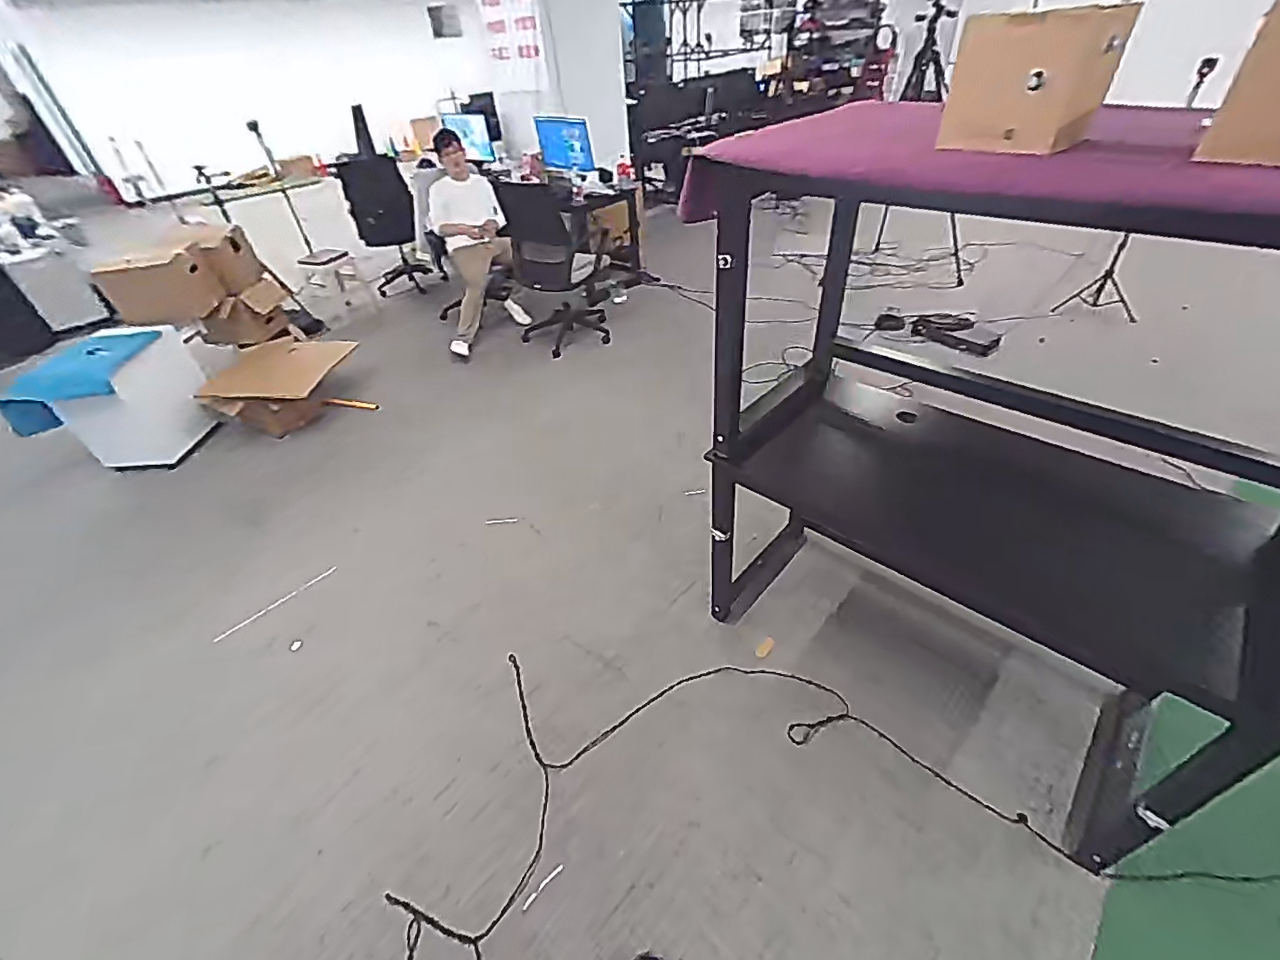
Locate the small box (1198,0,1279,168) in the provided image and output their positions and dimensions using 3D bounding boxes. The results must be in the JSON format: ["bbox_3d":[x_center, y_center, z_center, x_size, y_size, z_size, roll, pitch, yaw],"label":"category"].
[{"bbox_3d":[0.811,-0.465,0.629,0.179,0.176,0.168,28,49,34],"label":"small box"}]

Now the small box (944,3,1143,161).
[{"bbox_3d":[0.586,-0.589,0.807,0.179,0.176,0.168,-30,46,-28],"label":"small box"}]
